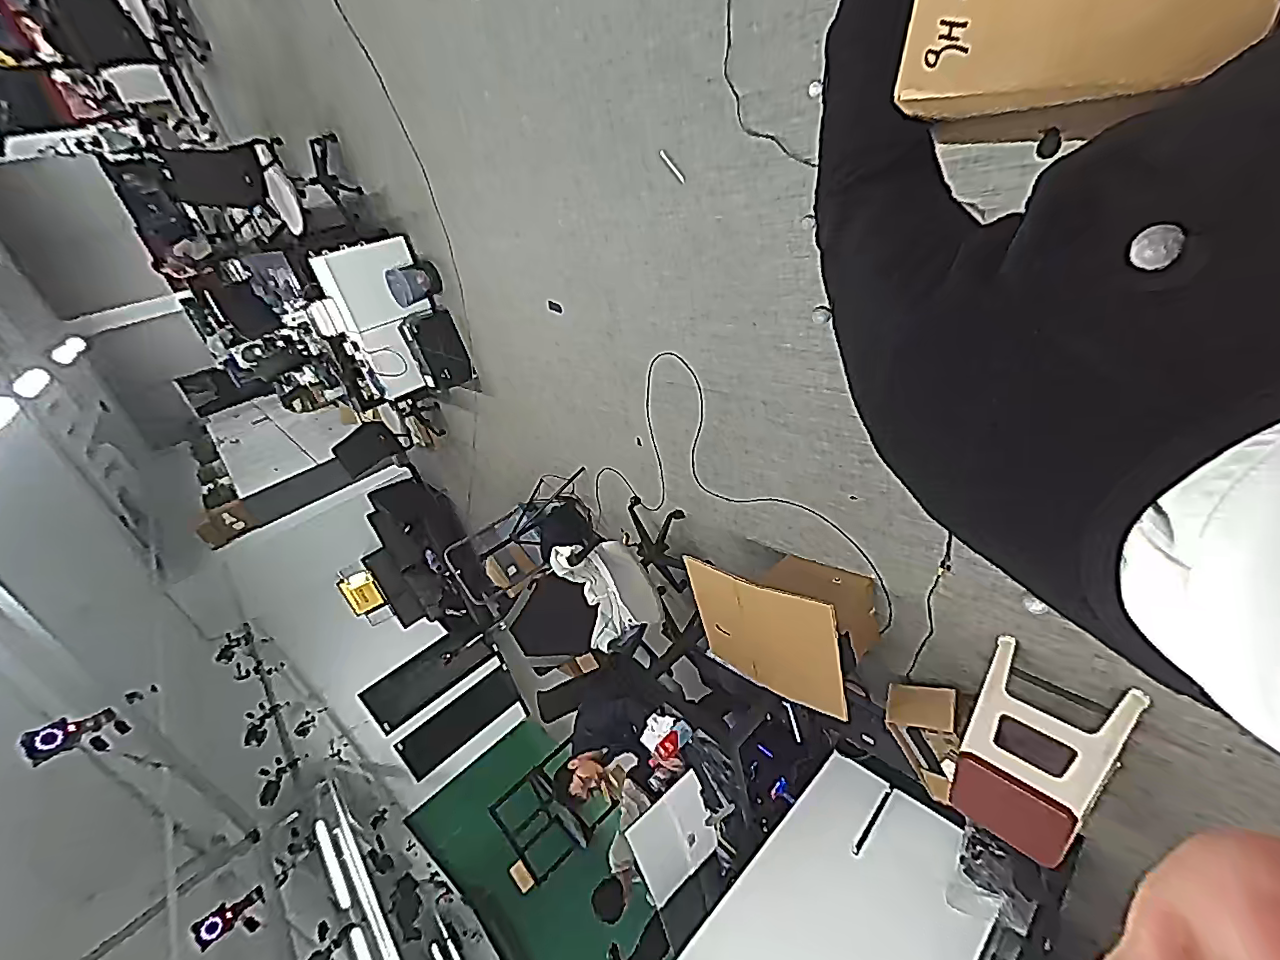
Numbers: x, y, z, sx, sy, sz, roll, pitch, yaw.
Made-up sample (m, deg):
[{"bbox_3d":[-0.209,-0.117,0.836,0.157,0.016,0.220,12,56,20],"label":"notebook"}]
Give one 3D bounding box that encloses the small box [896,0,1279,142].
[{"bbox_3d":[0.295,-0.328,0.347,0.179,0.176,0.168,20,118,31],"label":"small box"}]
